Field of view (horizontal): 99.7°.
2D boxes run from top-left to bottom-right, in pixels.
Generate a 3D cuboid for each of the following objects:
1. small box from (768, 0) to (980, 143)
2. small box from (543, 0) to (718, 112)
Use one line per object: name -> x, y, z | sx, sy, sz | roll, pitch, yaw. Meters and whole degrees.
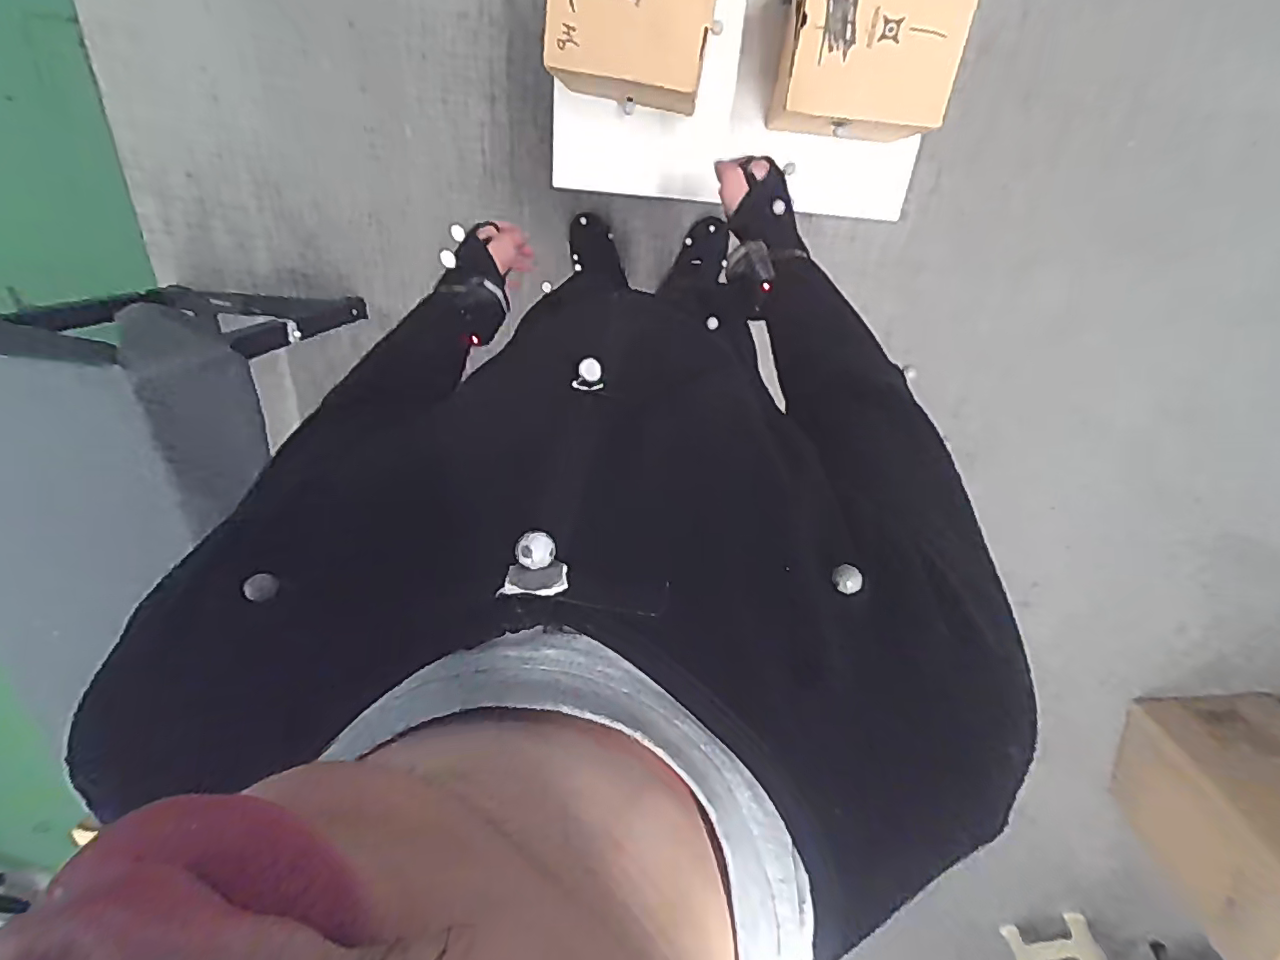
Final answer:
small box -> 0.257, -0.503, 0.627 | 0.179, 0.176, 0.168 | 6, 117, -1
small box -> -0.005, -0.542, 0.621 | 0.179, 0.176, 0.168 | 9, 116, -3
